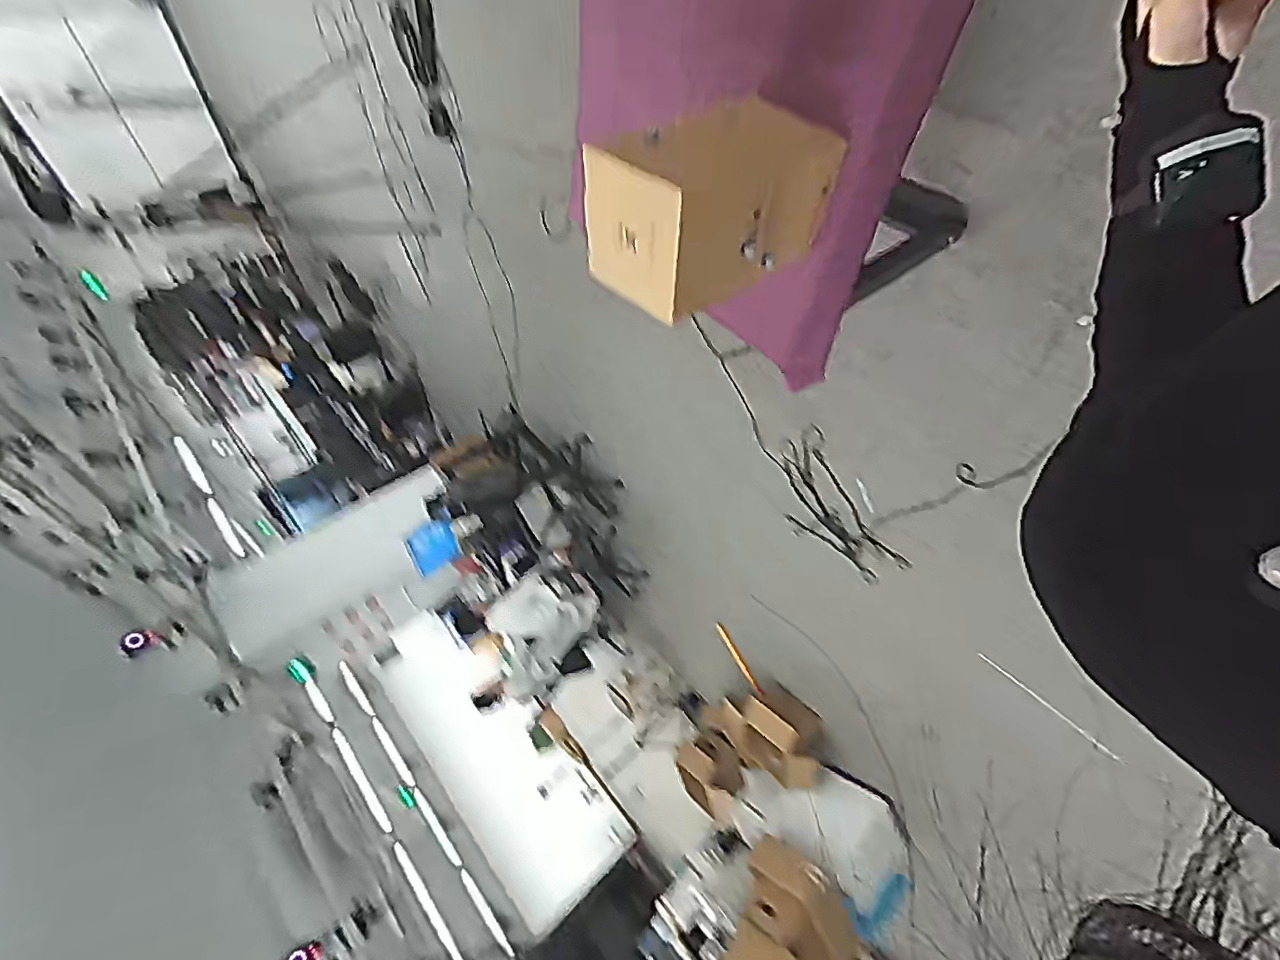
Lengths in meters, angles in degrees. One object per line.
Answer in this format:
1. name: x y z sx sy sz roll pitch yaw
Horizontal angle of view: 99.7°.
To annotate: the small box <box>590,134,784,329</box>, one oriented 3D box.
1. small box: 0.054 -0.330 0.706 0.179 0.176 0.168 41 149 29
